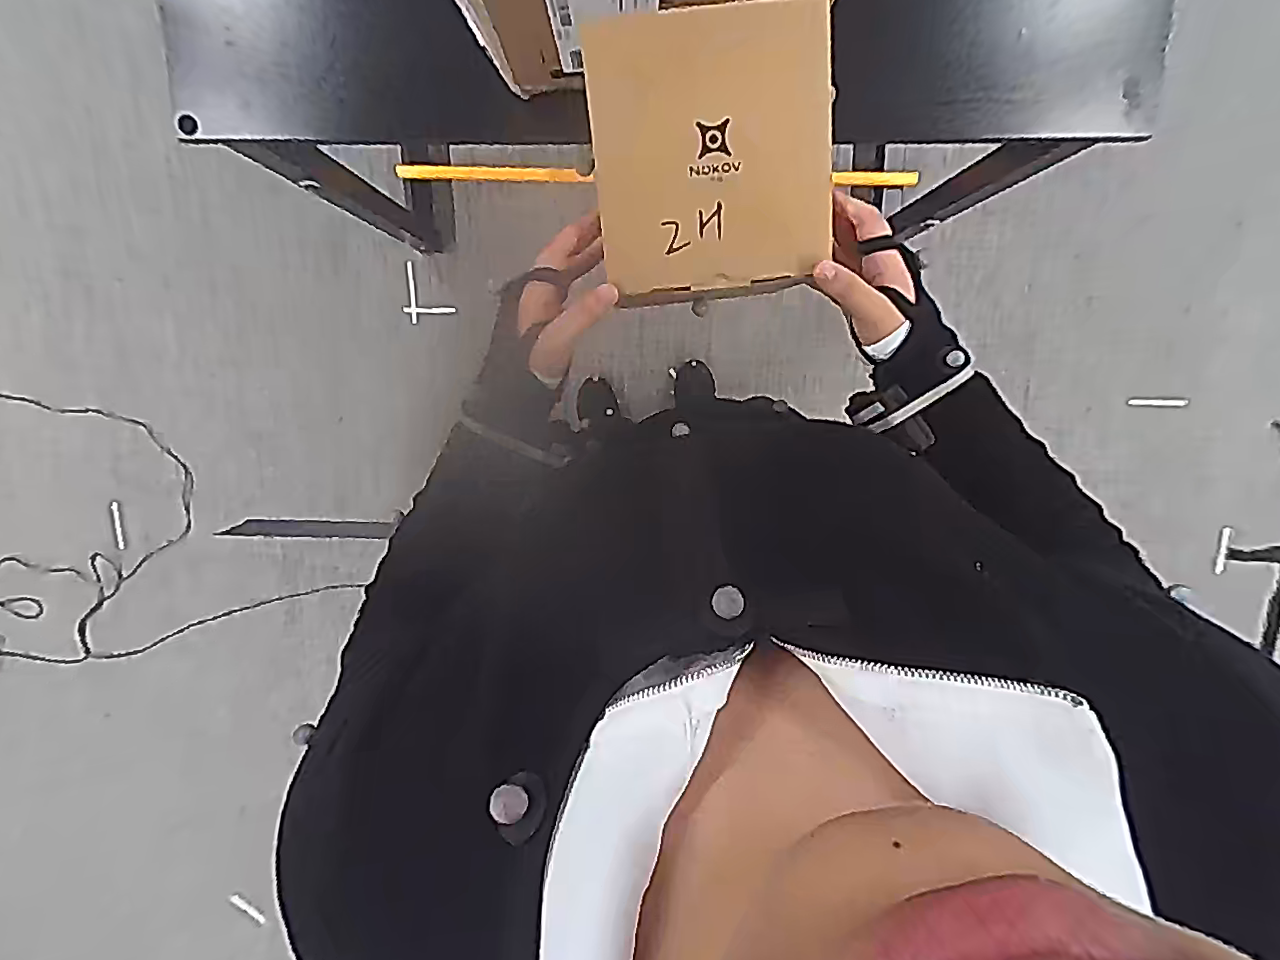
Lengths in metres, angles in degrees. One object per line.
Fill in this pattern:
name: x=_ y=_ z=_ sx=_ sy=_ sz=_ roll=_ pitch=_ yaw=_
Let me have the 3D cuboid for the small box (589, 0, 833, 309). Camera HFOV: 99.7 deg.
small box: x=0.049 y=-0.247 z=0.452 sx=0.168 sy=0.176 sz=0.179 roll=-5 pitch=104 yaw=0
